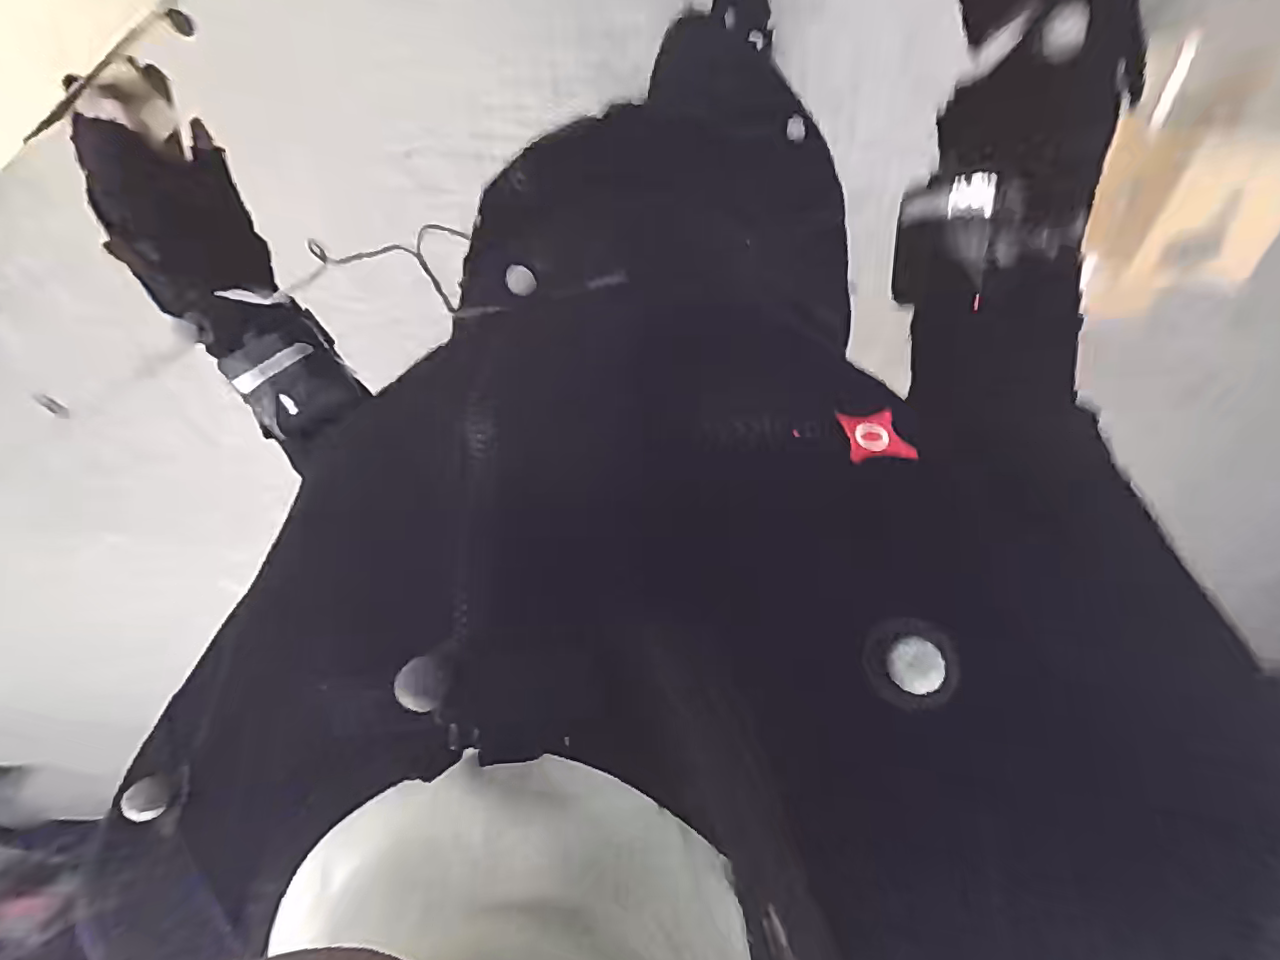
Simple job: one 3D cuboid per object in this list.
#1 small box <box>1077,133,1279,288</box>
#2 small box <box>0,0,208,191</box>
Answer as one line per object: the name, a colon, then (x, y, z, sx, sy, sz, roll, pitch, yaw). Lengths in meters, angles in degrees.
small box: (0.812, -0.409, 0.817, 0.168, 0.176, 0.179, 5, 129, 7)
small box: (-0.364, -0.310, 0.289, 0.168, 0.176, 0.179, -27, 142, 17)
